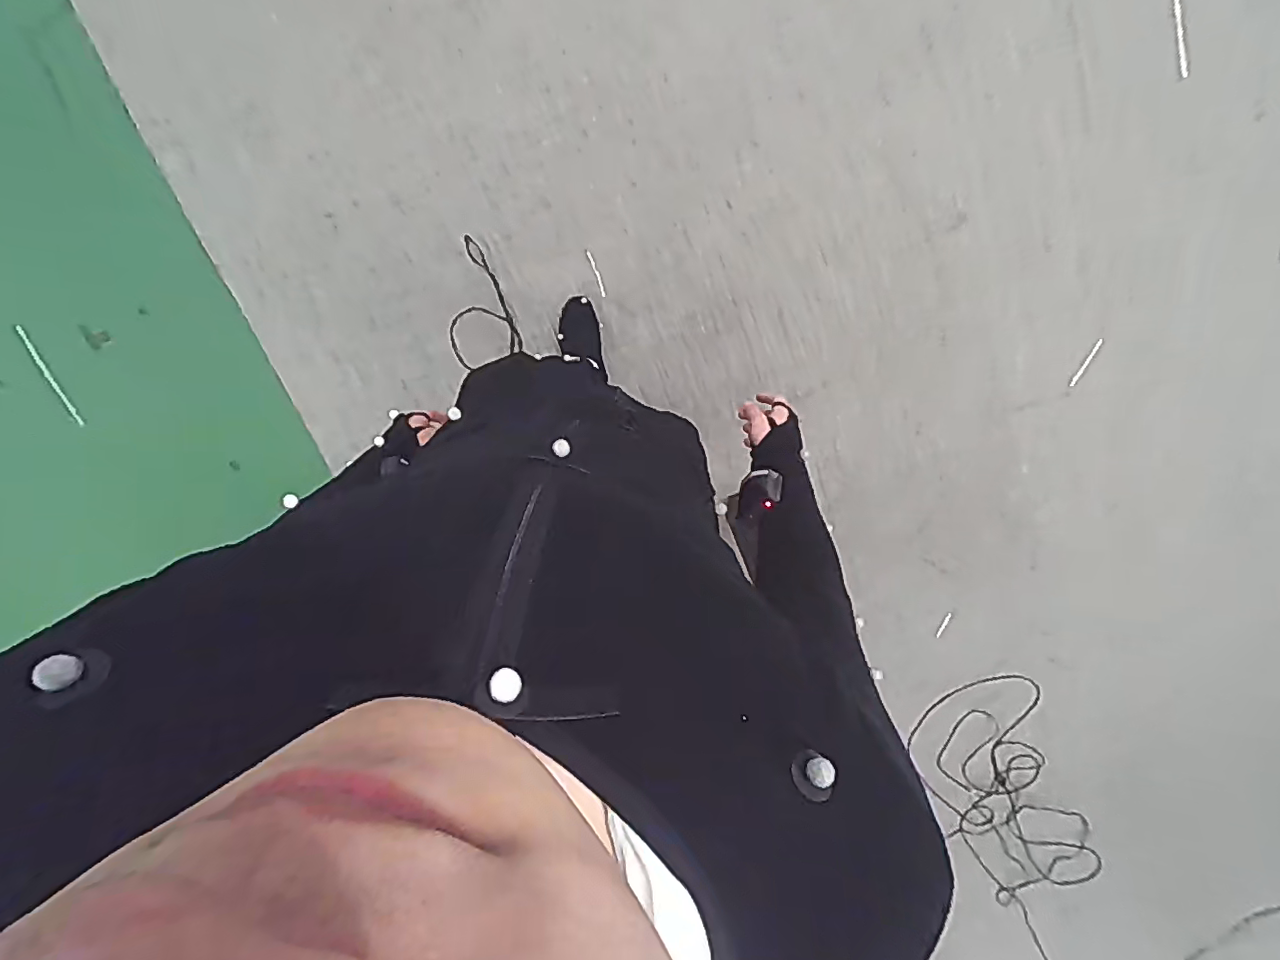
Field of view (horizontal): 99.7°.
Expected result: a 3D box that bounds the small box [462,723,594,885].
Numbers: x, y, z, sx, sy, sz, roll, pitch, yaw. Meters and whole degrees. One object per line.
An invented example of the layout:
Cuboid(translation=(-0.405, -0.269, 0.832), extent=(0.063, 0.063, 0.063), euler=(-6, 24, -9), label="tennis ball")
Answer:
Cuboid(translation=(-0.192, 0.585, 0.990), extent=(0.168, 0.176, 0.179), euler=(-18, 106, 6), label="small box")

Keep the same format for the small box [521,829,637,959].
Cuboid(translation=(-0.109, 0.837, 1.065), extent=(0.168, 0.176, 0.179), euler=(-17, 104, 7), label="small box")
